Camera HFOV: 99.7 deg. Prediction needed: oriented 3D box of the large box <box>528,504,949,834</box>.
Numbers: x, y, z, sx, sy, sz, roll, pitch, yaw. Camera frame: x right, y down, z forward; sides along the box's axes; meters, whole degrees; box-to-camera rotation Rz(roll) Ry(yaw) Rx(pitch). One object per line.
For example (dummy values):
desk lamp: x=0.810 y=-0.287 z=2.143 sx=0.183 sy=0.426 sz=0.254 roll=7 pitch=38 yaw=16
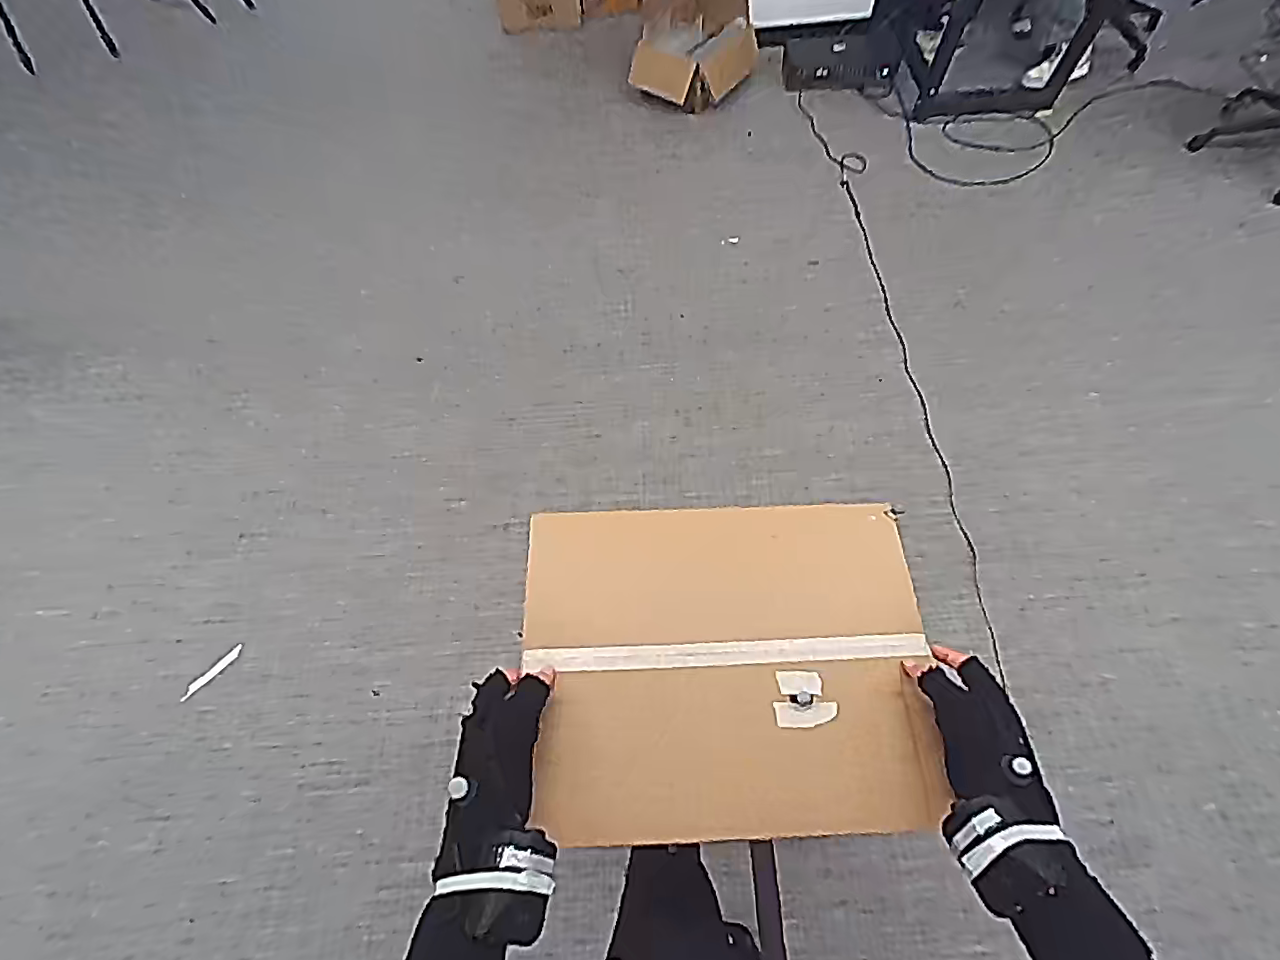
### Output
large box: x=0.081 y=0.240 z=0.695 sx=0.408 sy=0.320 sz=0.320 roll=-2 pitch=64 yaw=-2
